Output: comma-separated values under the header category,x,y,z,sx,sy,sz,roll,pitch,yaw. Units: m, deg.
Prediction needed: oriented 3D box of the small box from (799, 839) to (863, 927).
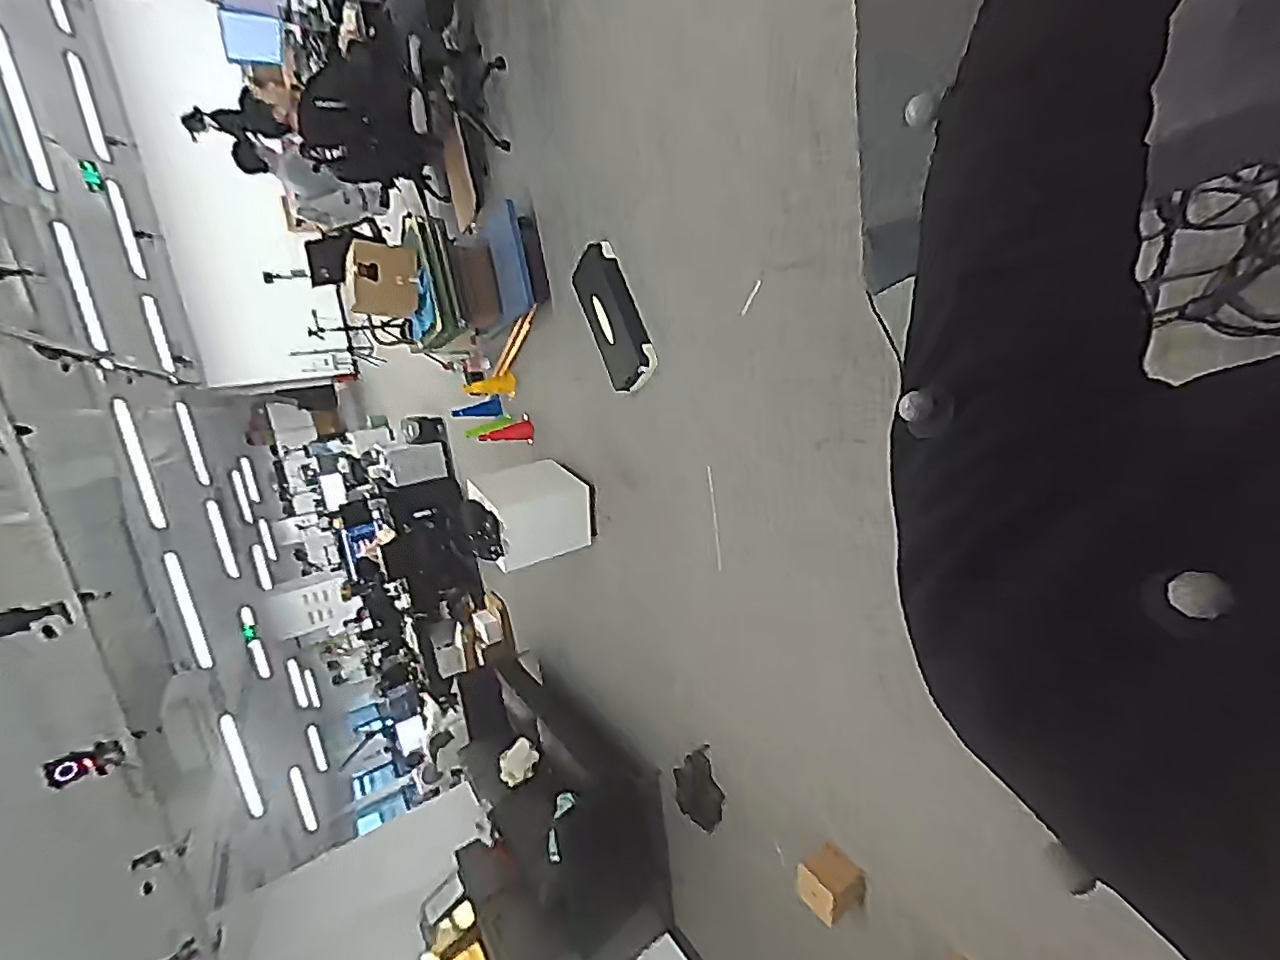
category,x,y,z,sx,sy,sz,roll,pitch,yaw
small box,0.739,1.547,2.089,0.168,0.176,0.179,23,123,54
